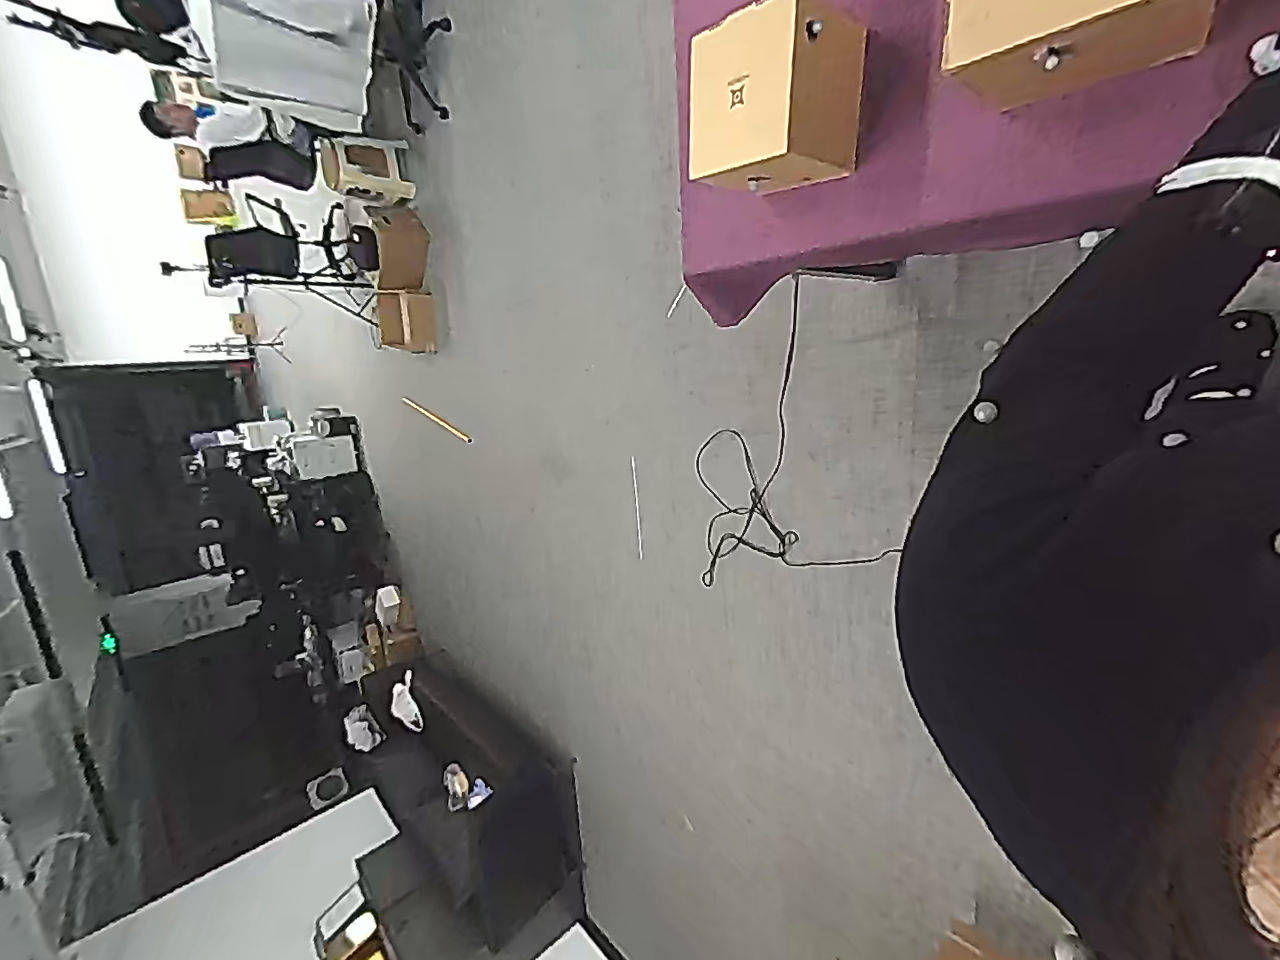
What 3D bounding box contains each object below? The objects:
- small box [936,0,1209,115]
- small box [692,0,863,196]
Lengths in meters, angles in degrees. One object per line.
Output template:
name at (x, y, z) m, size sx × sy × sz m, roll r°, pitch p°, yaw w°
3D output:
small box at (0.410, -0.474, 0.506) m, size 0.179 × 0.176 × 0.168 m, roll 15°, pitch 111°, yaw 46°
small box at (0.190, -0.511, 0.754) m, size 0.168 × 0.176 × 0.179 m, roll 17°, pitch 112°, yaw 46°
